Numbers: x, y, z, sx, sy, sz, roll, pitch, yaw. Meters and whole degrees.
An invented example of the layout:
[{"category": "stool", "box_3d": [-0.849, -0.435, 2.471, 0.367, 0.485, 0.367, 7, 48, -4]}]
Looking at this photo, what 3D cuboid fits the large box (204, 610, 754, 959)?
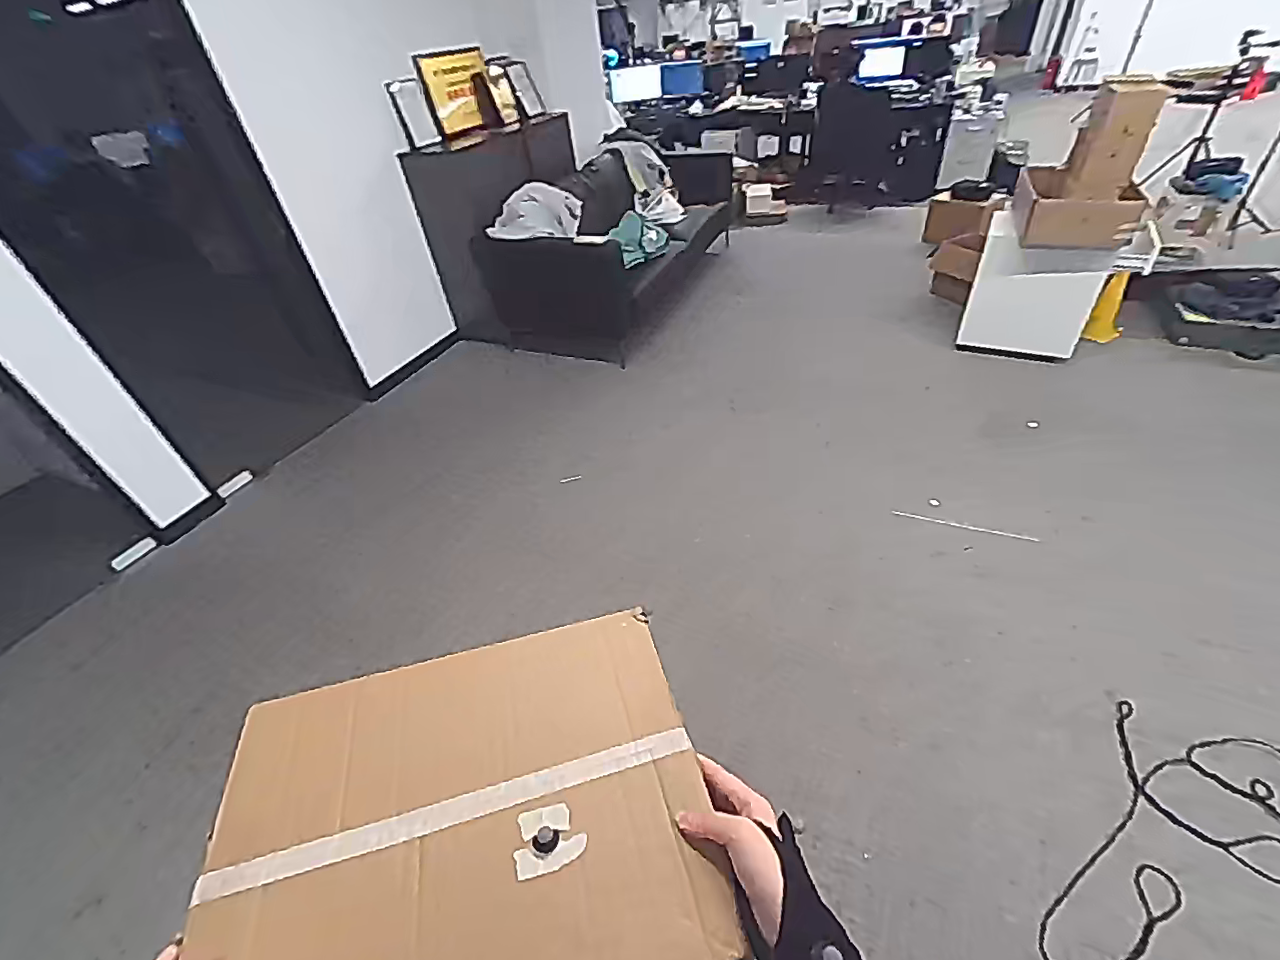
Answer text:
[{"category": "large box", "box_3d": [-0.142, 0.394, 0.570, 0.408, 0.320, 0.320, -10, 41, -12]}]
